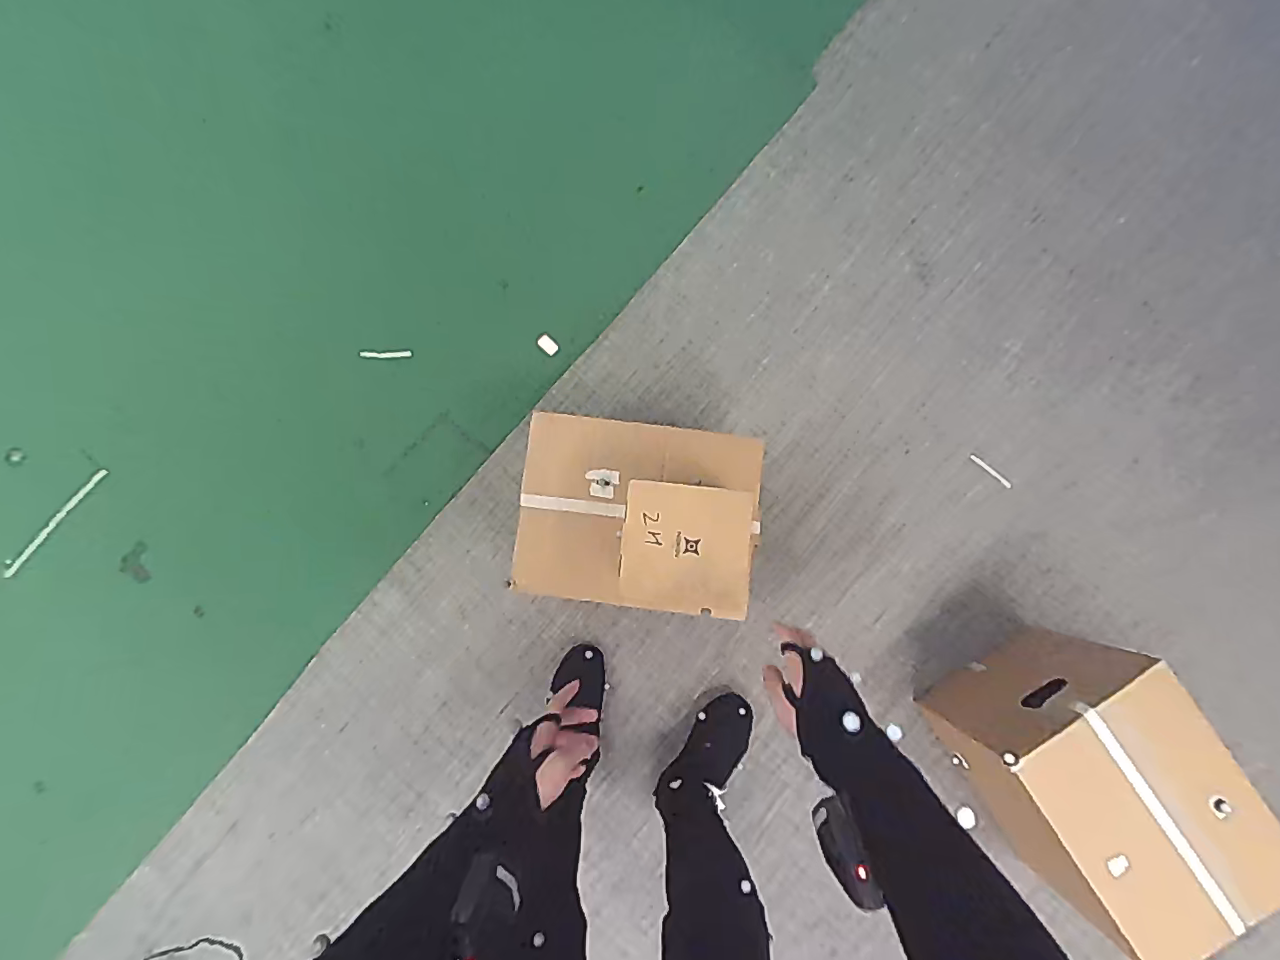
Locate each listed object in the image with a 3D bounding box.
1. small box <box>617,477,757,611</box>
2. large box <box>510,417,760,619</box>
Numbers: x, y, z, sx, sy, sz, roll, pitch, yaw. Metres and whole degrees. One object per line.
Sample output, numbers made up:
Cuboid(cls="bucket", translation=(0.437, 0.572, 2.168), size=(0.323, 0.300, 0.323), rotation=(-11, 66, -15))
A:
Cuboid(cls="small box", translation=(0.064, 0.091, 0.810), size=(0.179, 0.176, 0.168), rotation=(6, 86, 1))
Cuboid(cls="large box", translation=(0.000, 0.073, 1.061), size=(0.408, 0.320, 0.320), rotation=(7, 84, 2))
